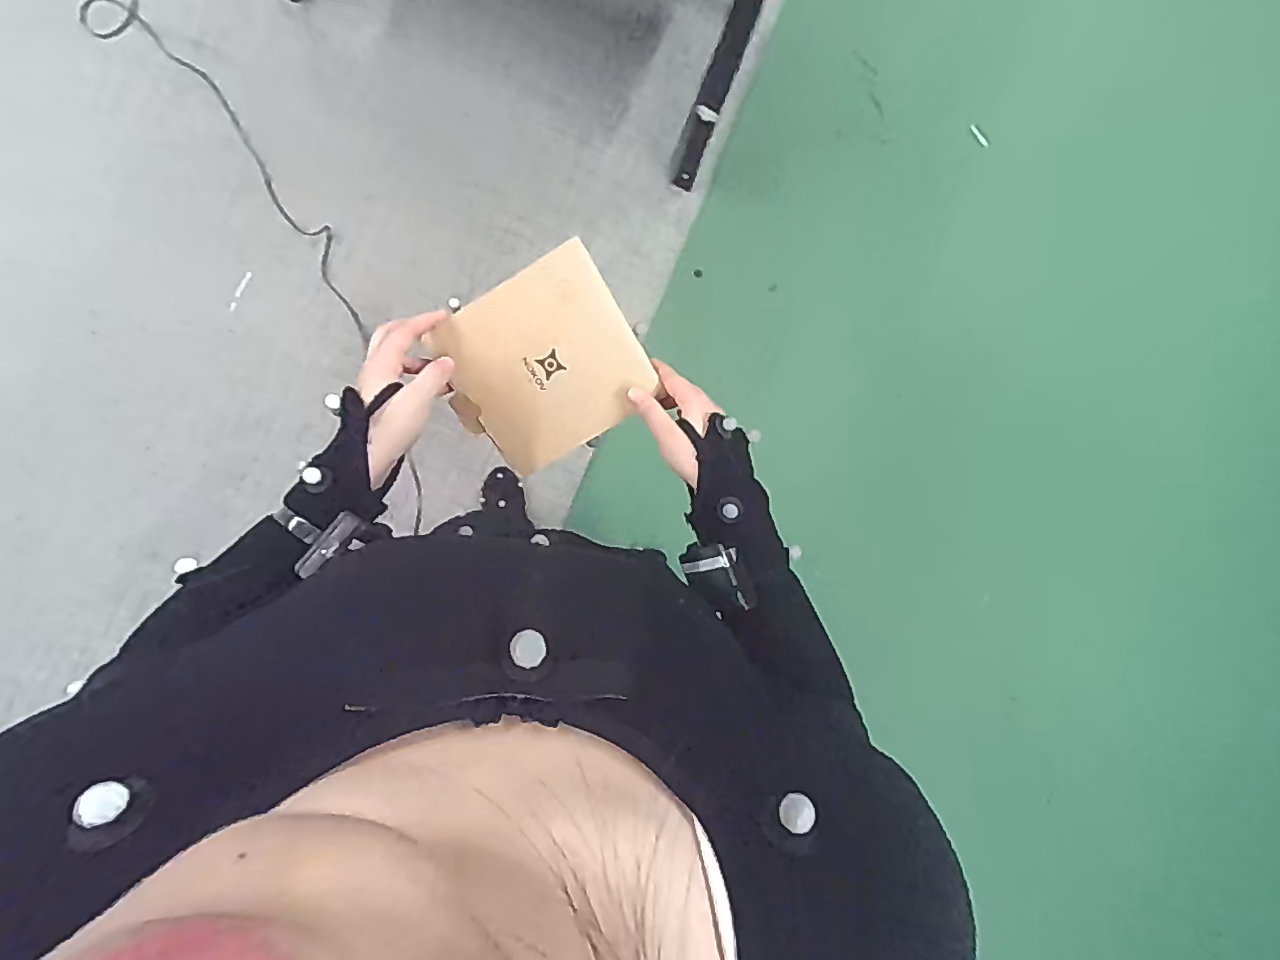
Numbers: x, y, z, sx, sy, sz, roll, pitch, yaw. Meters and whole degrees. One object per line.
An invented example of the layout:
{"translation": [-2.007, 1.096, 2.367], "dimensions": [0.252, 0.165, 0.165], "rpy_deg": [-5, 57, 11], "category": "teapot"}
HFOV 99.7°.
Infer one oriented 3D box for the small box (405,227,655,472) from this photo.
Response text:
{"translation": [-0.103, -0.142, 0.572], "dimensions": [0.179, 0.176, 0.168], "rpy_deg": [-29, 110, 8], "category": "small box"}
